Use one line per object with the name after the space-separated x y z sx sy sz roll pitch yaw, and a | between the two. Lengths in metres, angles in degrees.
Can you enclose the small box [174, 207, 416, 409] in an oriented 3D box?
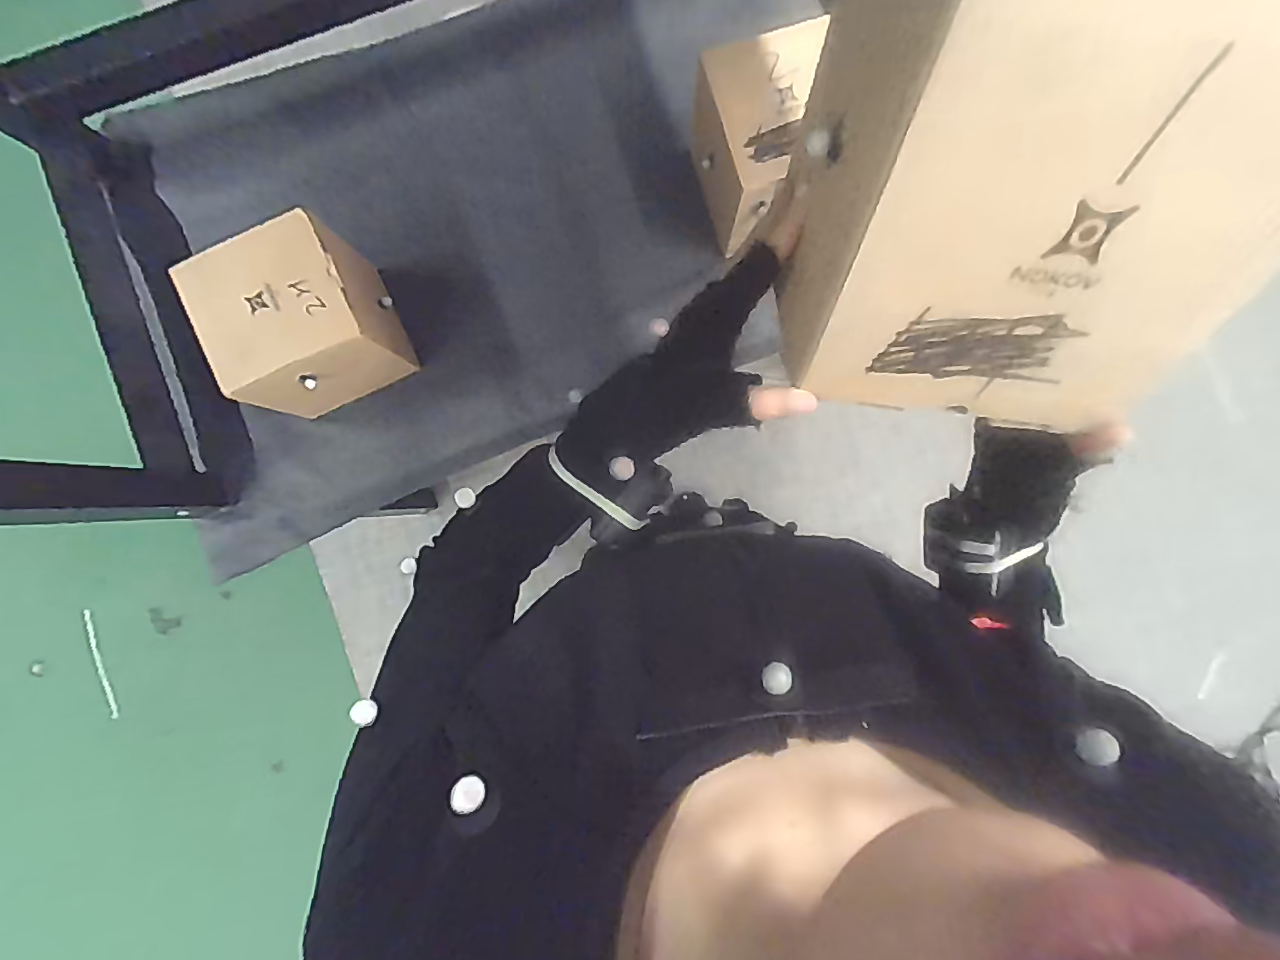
-0.430 -0.207 0.704 0.179 0.176 0.168 -25 88 -1 | small box
